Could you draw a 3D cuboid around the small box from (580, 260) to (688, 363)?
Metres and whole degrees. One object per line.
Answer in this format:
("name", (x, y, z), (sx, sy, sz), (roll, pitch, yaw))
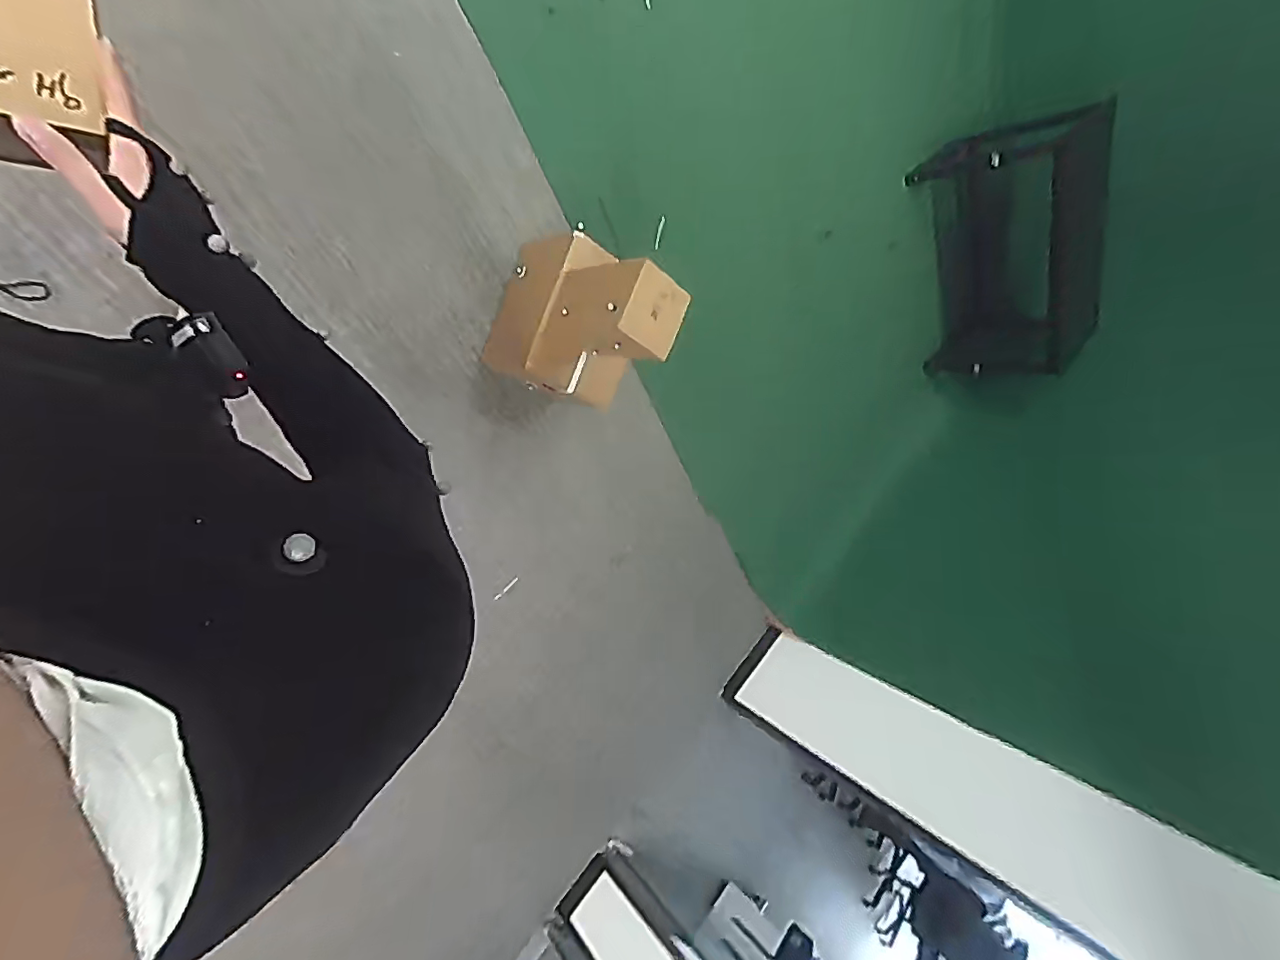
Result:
("small box", (-0.020, -0.404, 1.312), (0.168, 0.176, 0.179), (25, 86, -42))

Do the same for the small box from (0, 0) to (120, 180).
("small box", (-0.543, -0.367, 0.431), (0.168, 0.176, 0.179), (-9, 108, -40))

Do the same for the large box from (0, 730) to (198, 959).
("large box", (-1.261, 0.839, 1.184), (0.408, 0.320, 0.320), (-13, 112, -38))

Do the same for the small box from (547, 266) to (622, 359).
("small box", (-0.123, -0.440, 1.436), (0.168, 0.176, 0.179), (23, 87, -42))
